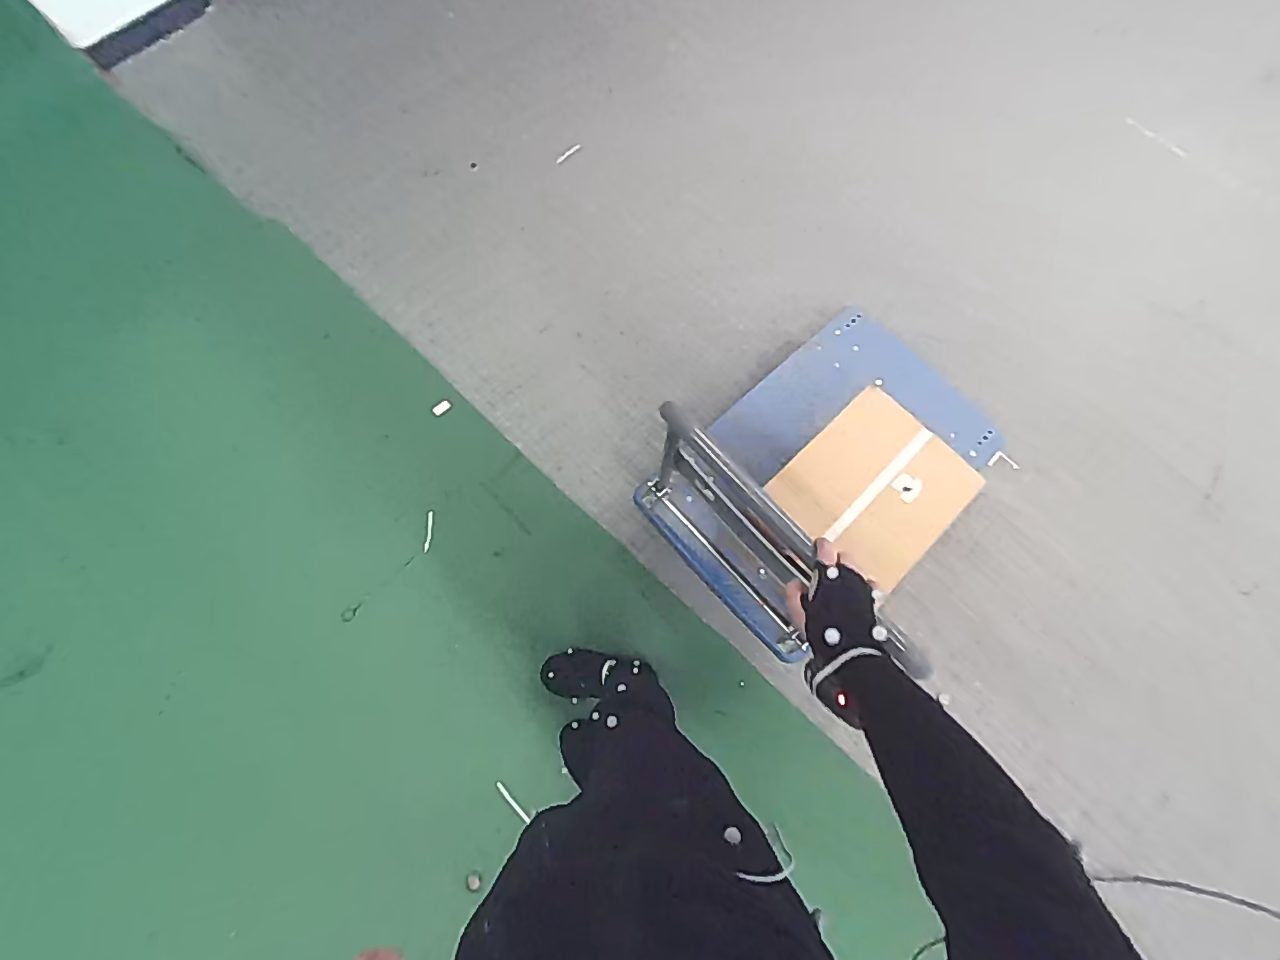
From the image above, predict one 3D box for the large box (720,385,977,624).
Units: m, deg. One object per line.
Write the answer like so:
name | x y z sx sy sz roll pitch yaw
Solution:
large box | 0.446 0.072 1.236 0.408 0.320 0.320 -42 80 -14
